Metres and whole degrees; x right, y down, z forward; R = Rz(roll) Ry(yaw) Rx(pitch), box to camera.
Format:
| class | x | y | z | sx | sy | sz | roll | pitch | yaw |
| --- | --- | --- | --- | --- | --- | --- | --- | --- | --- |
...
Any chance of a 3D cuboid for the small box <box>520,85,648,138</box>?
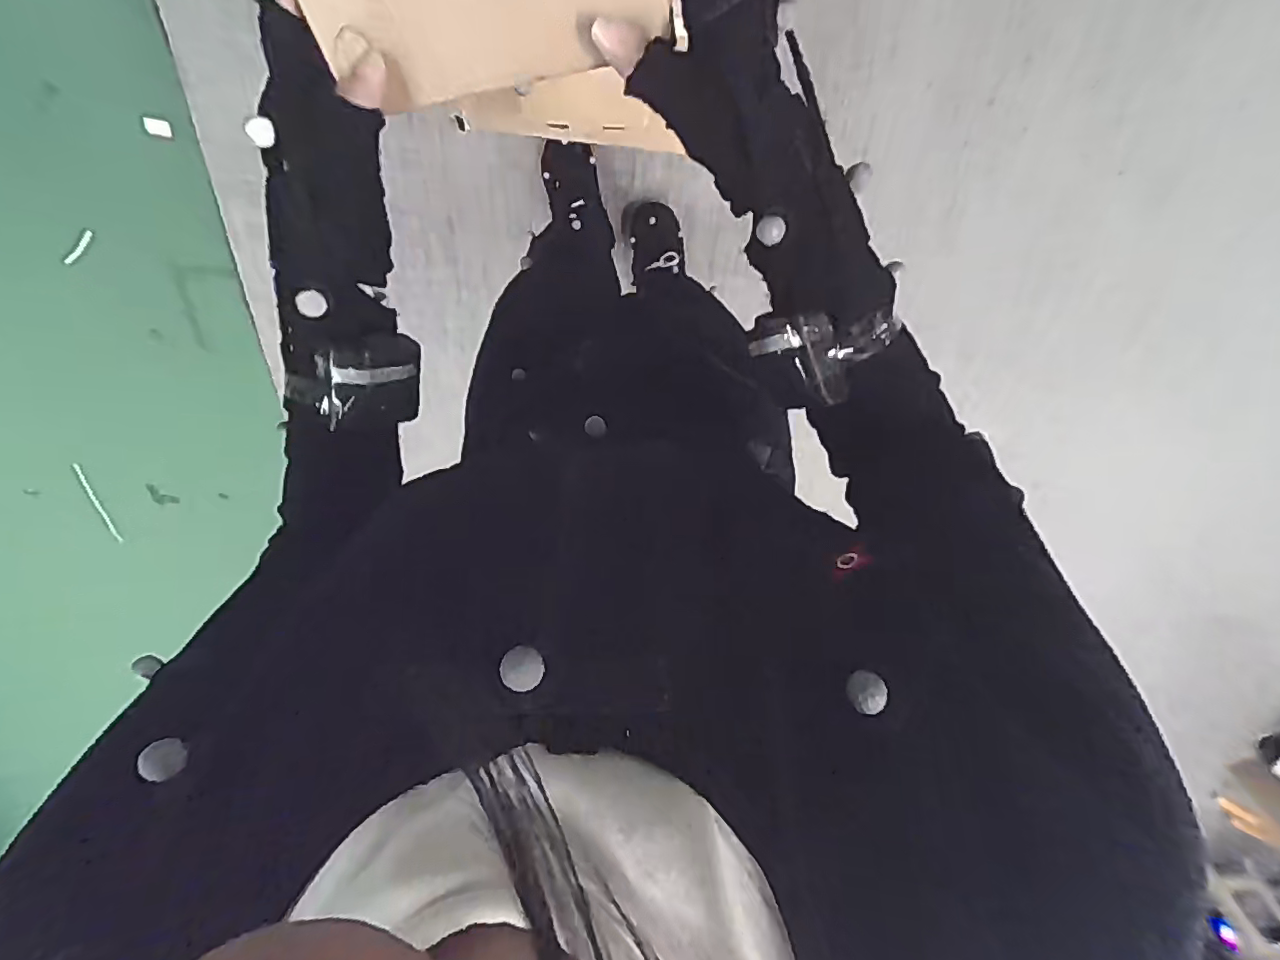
| class | x | y | z | sx | sy | sz | roll | pitch | yaw |
| --- | --- | --- | --- | --- | --- | --- | --- | --- | --- |
| small box | -0.070 | -0.572 | 0.721 | 0.168 | 0.176 | 0.179 | 1 | 128 | -1 |

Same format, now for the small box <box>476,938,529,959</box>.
| class | x | y | z | sx | sy | sz | roll | pitch | yaw |
| --- | --- | --- | --- | --- | --- | --- | --- | --- | --- |
| small box | -0.488 | 1.729 | 1.888 | 0.179 | 0.176 | 0.168 | 4 | 125 | -2 |
